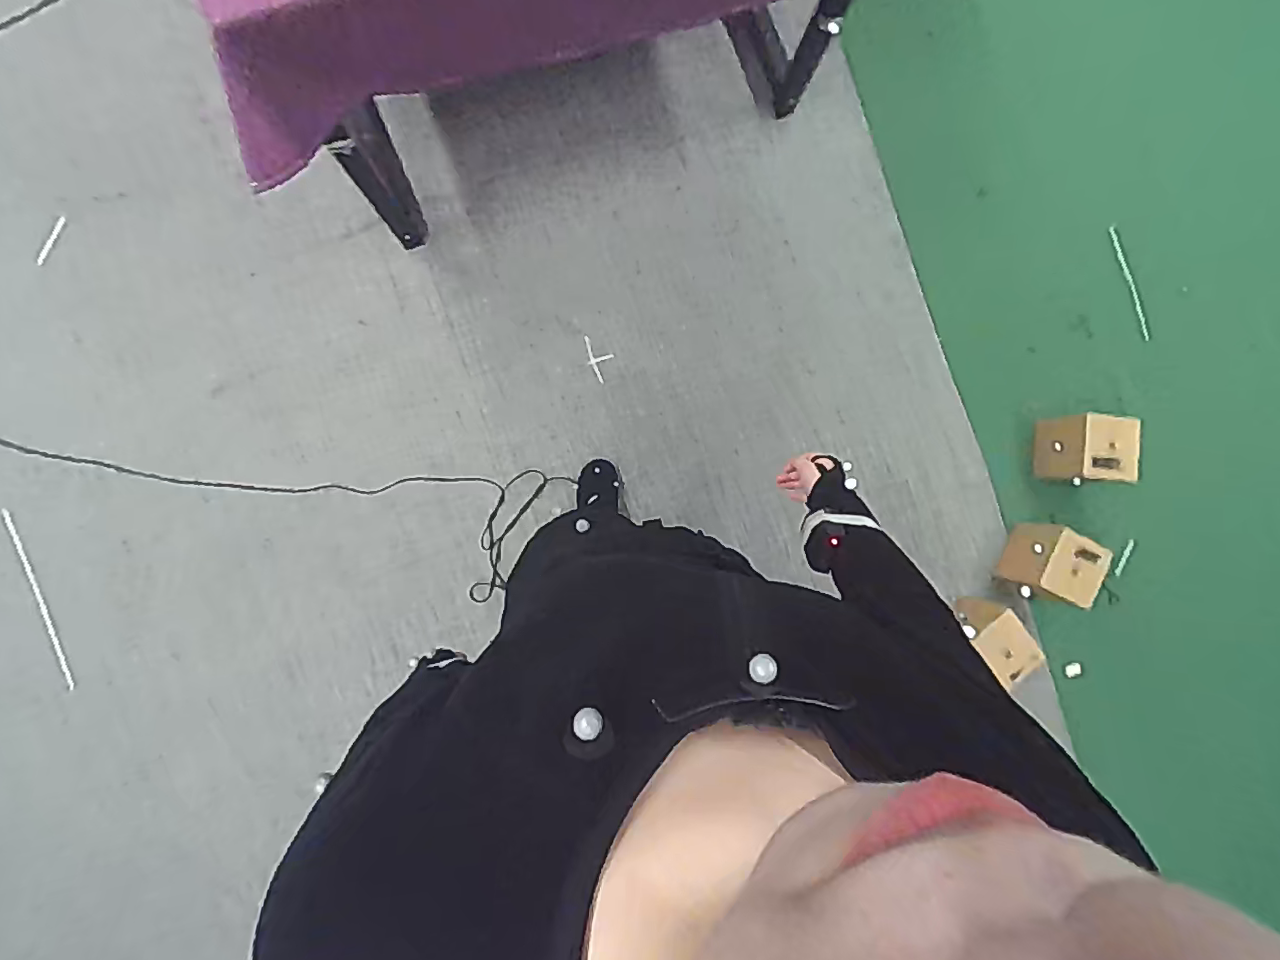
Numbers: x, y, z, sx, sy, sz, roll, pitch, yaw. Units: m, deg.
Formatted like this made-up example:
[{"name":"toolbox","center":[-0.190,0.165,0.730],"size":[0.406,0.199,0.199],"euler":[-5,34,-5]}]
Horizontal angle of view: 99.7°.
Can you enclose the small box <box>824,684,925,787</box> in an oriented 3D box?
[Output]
[{"name":"small box","center":[0.622,0.684,1.466],"size":[0.179,0.176,0.168],"euler":[-21,91,-5]}]

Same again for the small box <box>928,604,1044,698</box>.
[{"name":"small box","center":[0.952,0.464,1.504],"size":[0.168,0.176,0.179],"euler":[-37,92,-5]}]

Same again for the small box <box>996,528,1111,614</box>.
[{"name":"small box","center":[1.158,0.248,1.529],"size":[0.168,0.176,0.179],"euler":[27,87,-5]}]
